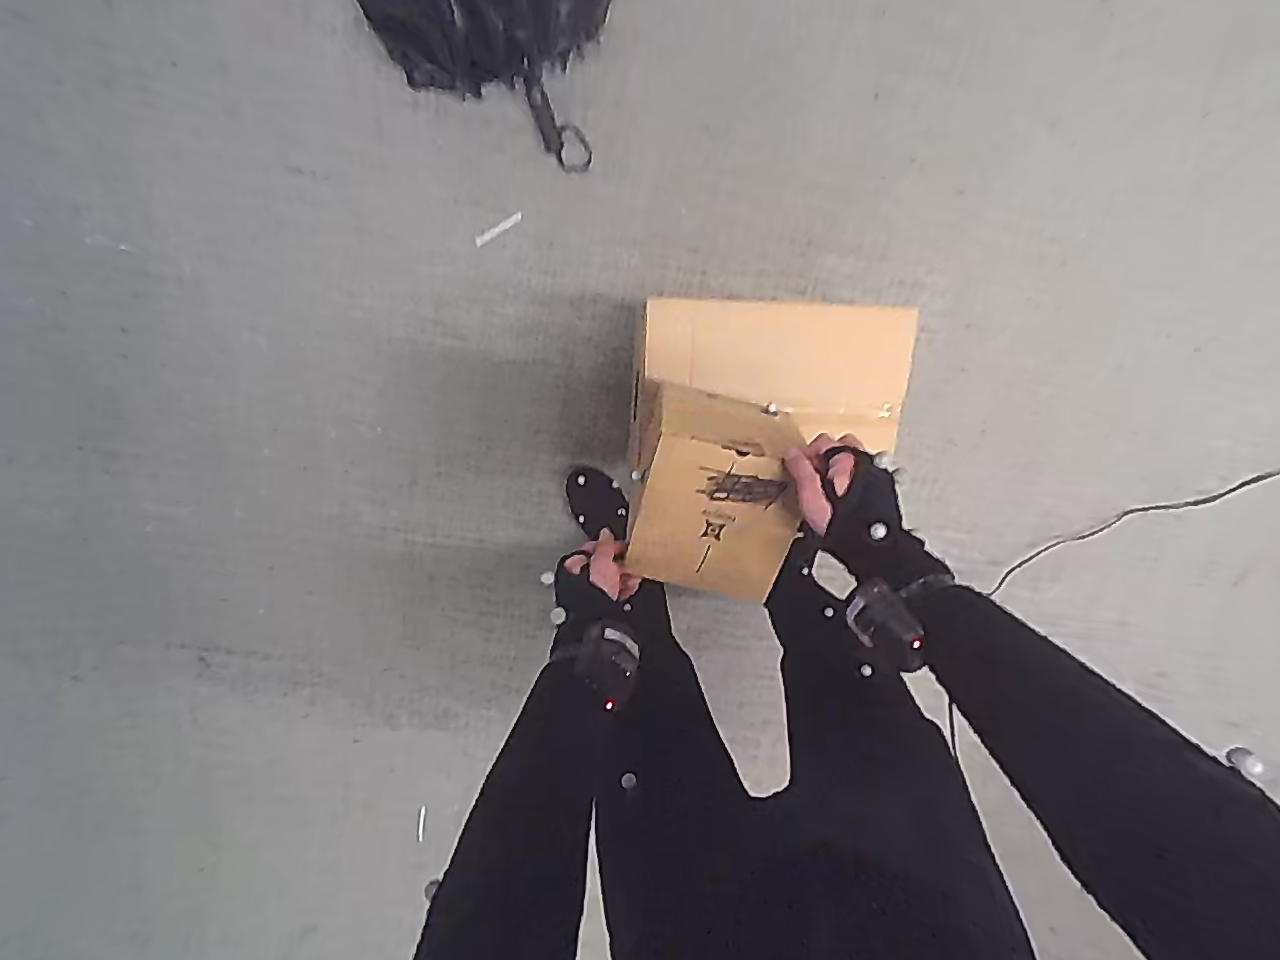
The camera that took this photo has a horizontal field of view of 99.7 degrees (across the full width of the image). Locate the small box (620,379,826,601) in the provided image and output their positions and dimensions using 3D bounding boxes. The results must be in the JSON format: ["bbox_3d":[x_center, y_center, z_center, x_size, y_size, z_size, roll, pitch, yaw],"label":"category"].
[{"bbox_3d":[0.080,0.002,0.613,0.168,0.176,0.179,15,116,-4],"label":"small box"}]
